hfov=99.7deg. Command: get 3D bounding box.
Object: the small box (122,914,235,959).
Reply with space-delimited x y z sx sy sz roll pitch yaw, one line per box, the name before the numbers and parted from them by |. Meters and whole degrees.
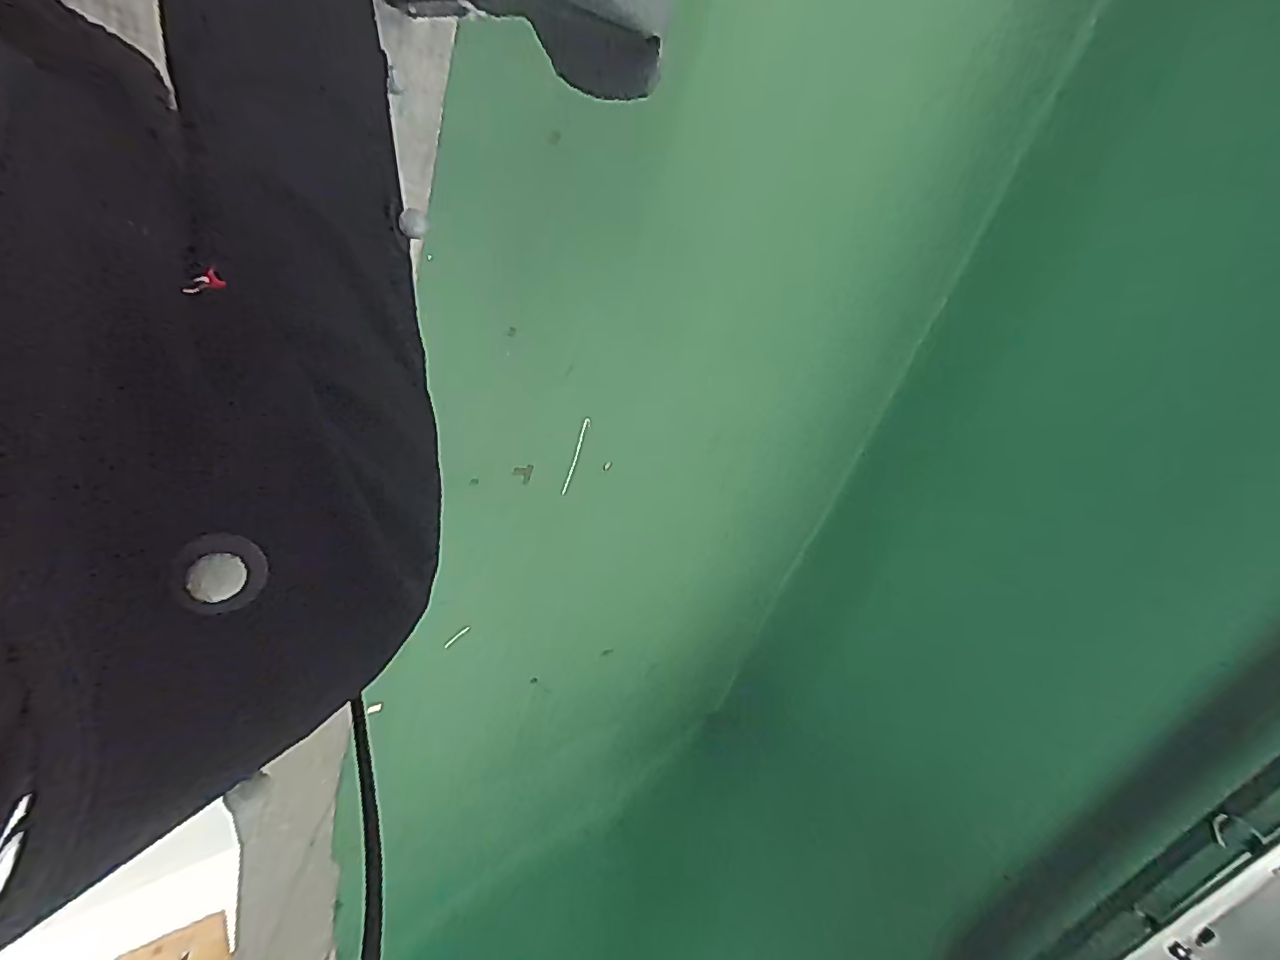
small box | -0.888 0.999 1.038 0.168 0.176 0.179 -1 120 -46
